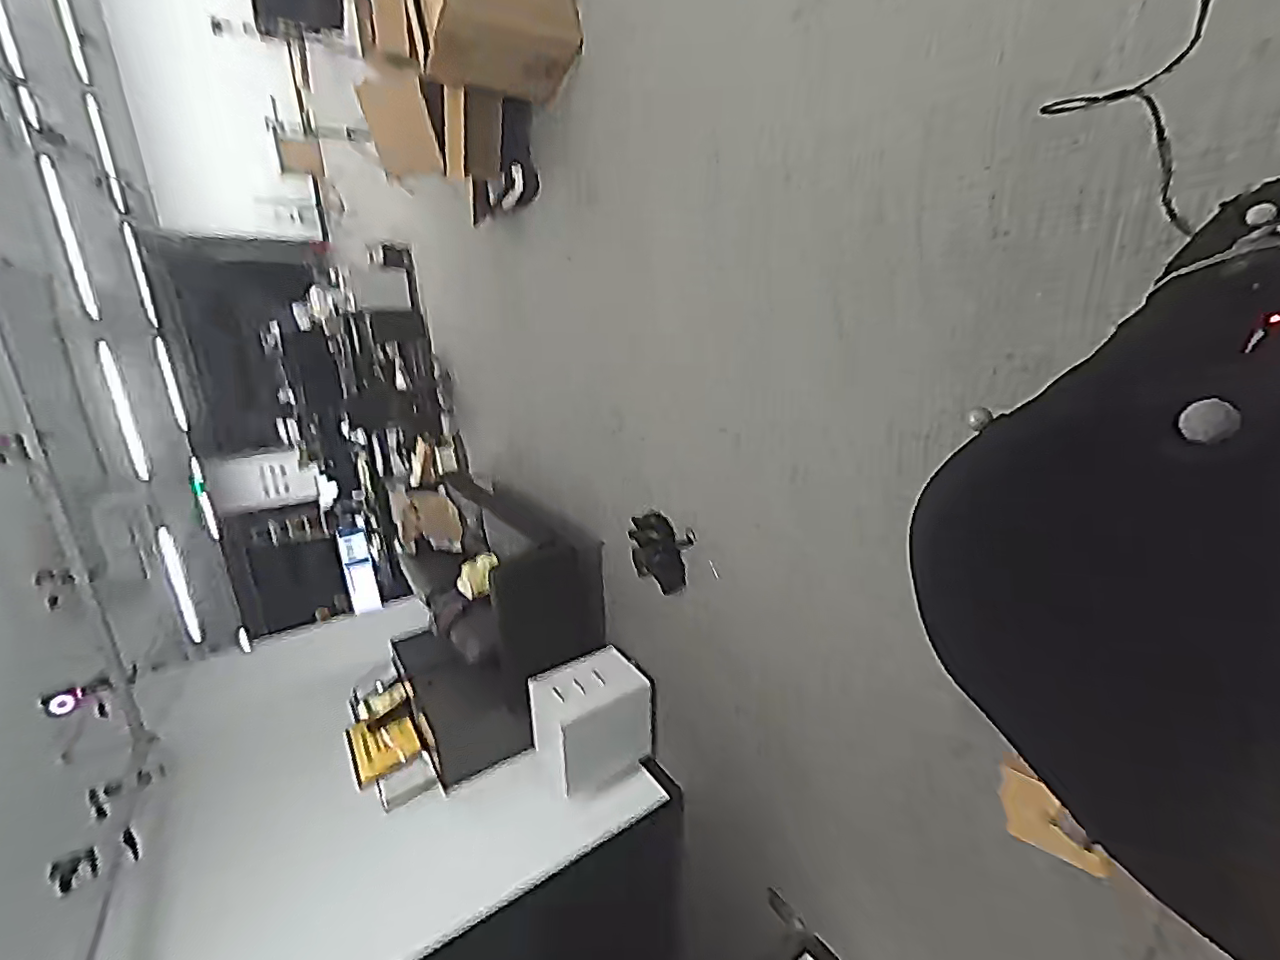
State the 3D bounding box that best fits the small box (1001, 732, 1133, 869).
[{"bbox_3d":[0.917,0.672,1.163,0.179,0.176,0.168,-2,99,57],"label":"small box"}]
